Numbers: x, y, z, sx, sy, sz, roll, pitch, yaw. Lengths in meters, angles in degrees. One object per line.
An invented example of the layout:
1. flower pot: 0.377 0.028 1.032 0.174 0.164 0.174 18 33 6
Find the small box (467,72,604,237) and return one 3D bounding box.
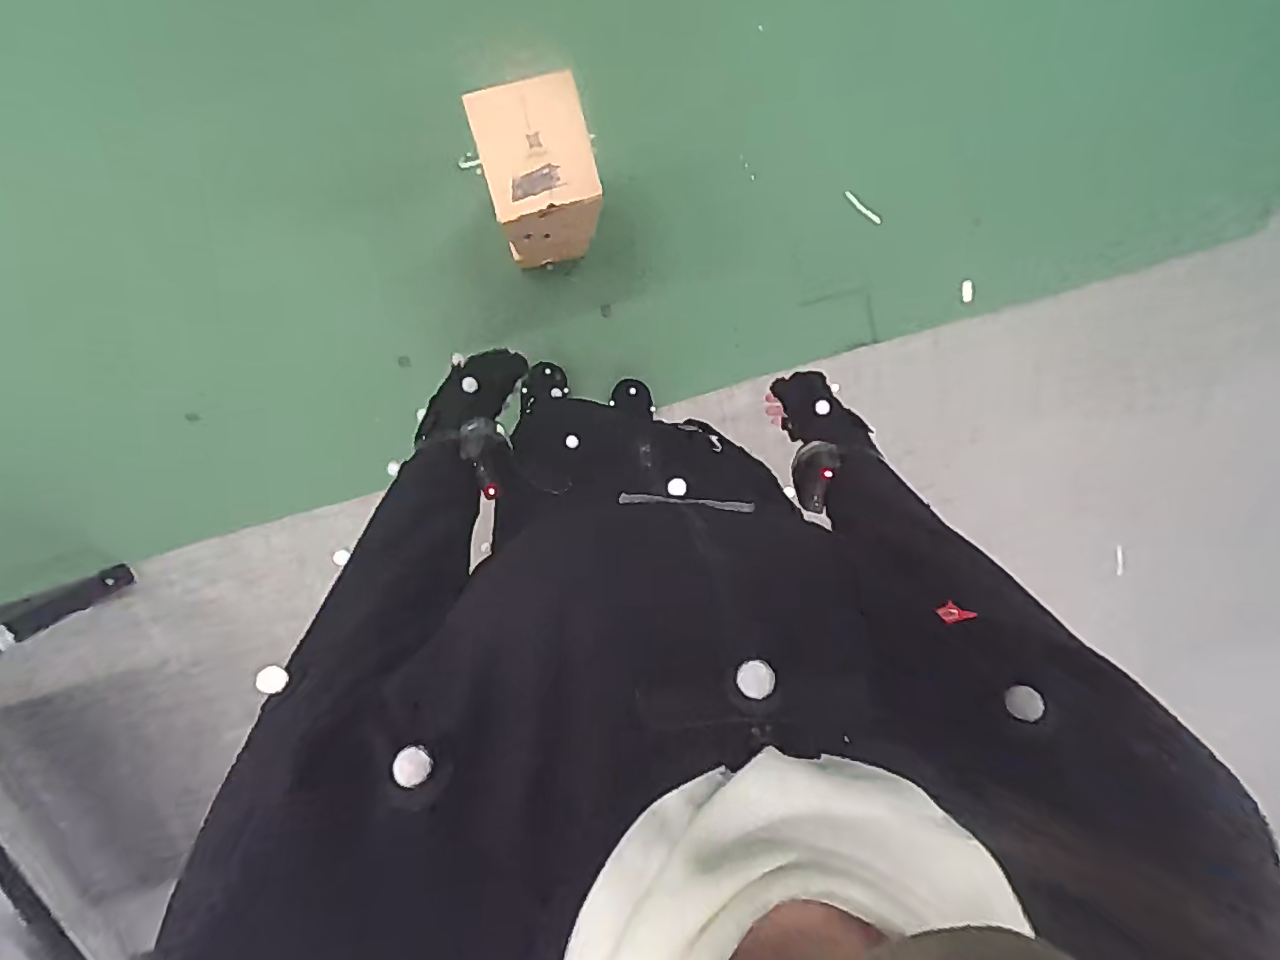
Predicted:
1. small box: -0.160 -0.509 0.877 0.168 0.176 0.179 -16 104 -4

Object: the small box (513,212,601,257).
1. small box: -0.179 -0.549 1.036 0.168 0.176 0.179 -16 104 -3

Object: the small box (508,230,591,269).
1. small box: -0.206 -0.575 1.176 0.168 0.176 0.179 -13 105 -3
